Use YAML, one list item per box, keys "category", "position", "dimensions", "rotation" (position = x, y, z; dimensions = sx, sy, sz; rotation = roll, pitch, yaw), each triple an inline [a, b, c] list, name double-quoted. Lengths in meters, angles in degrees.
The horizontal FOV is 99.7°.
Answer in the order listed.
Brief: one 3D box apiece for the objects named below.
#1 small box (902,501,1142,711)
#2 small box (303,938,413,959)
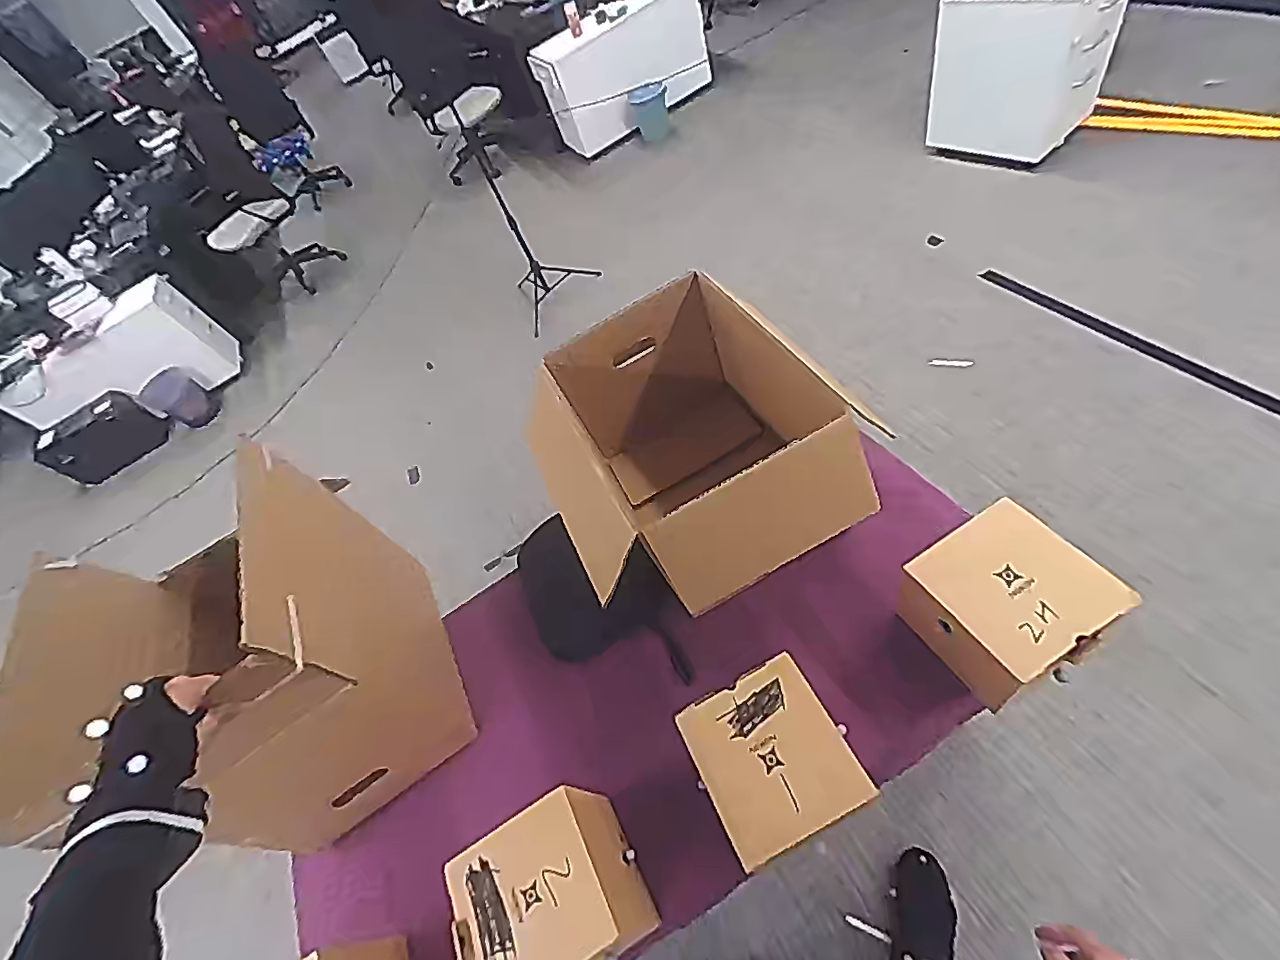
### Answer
- category: "small box"
  position: [0.465, 0.167, 0.698]
  dimensions: [0.168, 0.176, 0.179]
  rotation: [-34, 51, -2]
- category: "small box"
  position: [-0.392, 0.706, 0.658]
  dimensions: [0.179, 0.176, 0.168]
  rotation: [-34, 51, -5]
